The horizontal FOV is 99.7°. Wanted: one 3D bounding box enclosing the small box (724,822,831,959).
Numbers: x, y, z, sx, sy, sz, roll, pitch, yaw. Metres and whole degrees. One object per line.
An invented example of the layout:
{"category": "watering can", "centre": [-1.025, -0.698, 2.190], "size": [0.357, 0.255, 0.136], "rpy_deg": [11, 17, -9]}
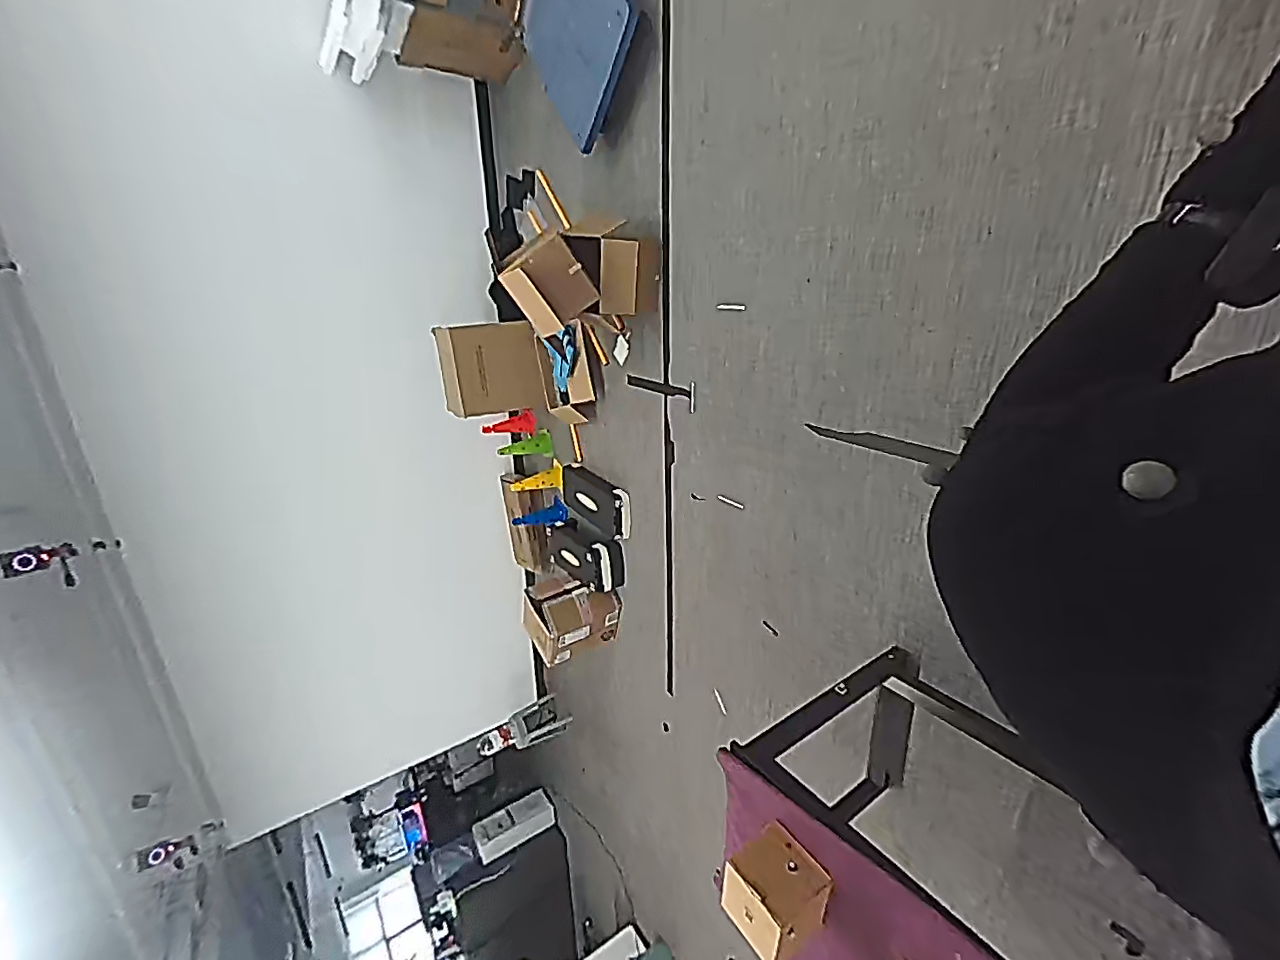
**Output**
{"category": "small box", "centre": [0.312, 0.942, 1.237], "size": [0.168, 0.176, 0.179], "rpy_deg": [30, 128, 49]}
